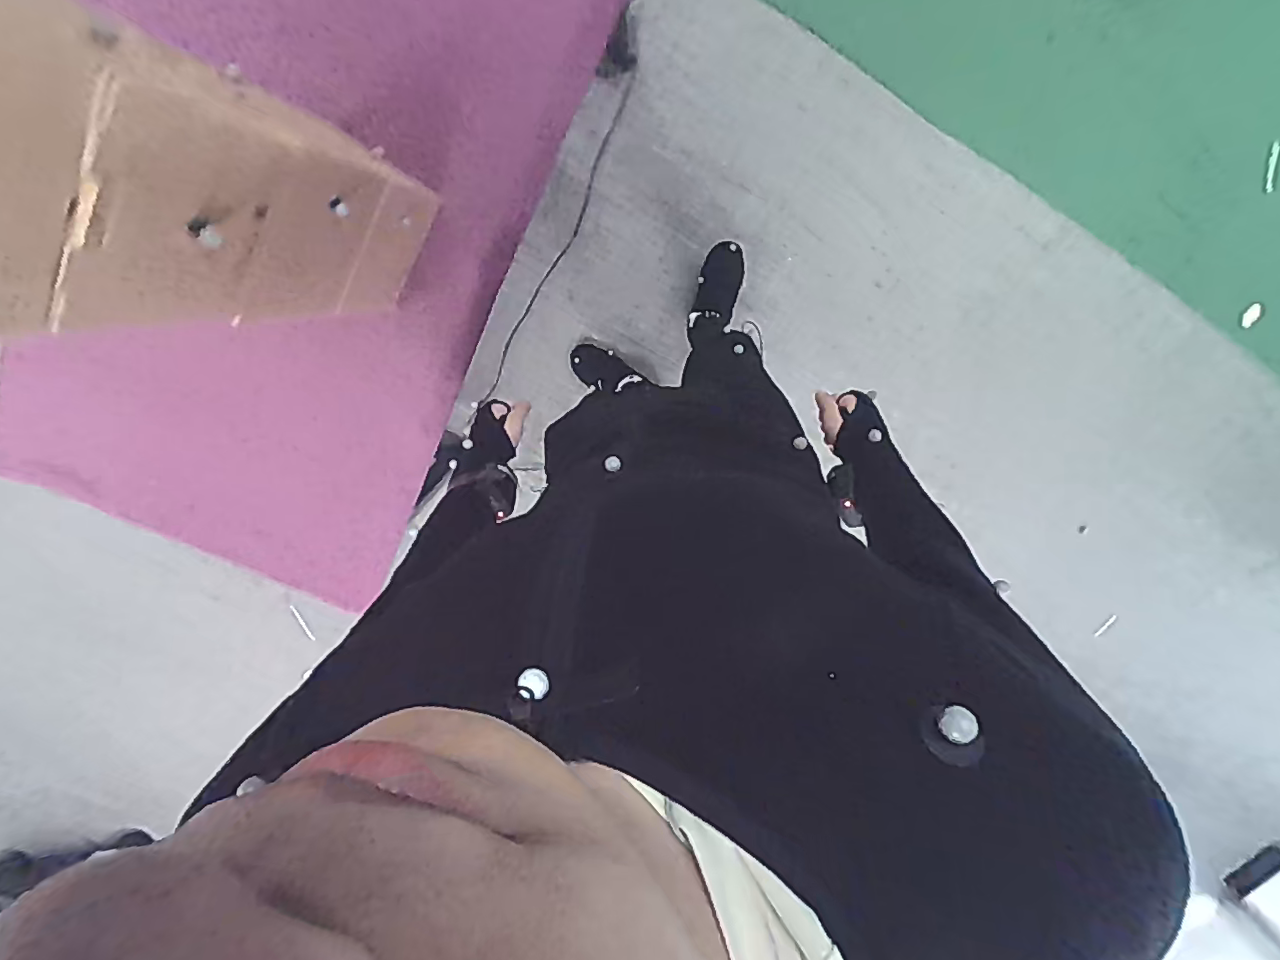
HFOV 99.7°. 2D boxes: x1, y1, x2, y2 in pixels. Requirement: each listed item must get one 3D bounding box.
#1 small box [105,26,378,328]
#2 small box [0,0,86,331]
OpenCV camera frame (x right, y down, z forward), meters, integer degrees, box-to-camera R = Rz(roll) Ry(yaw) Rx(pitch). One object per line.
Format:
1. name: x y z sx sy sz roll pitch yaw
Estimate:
1. small box: -0.392 -0.276 0.536 0.168 0.176 0.179 31 108 -10
2. small box: -0.402 -0.171 0.226 0.168 0.176 0.179 29 107 -9
